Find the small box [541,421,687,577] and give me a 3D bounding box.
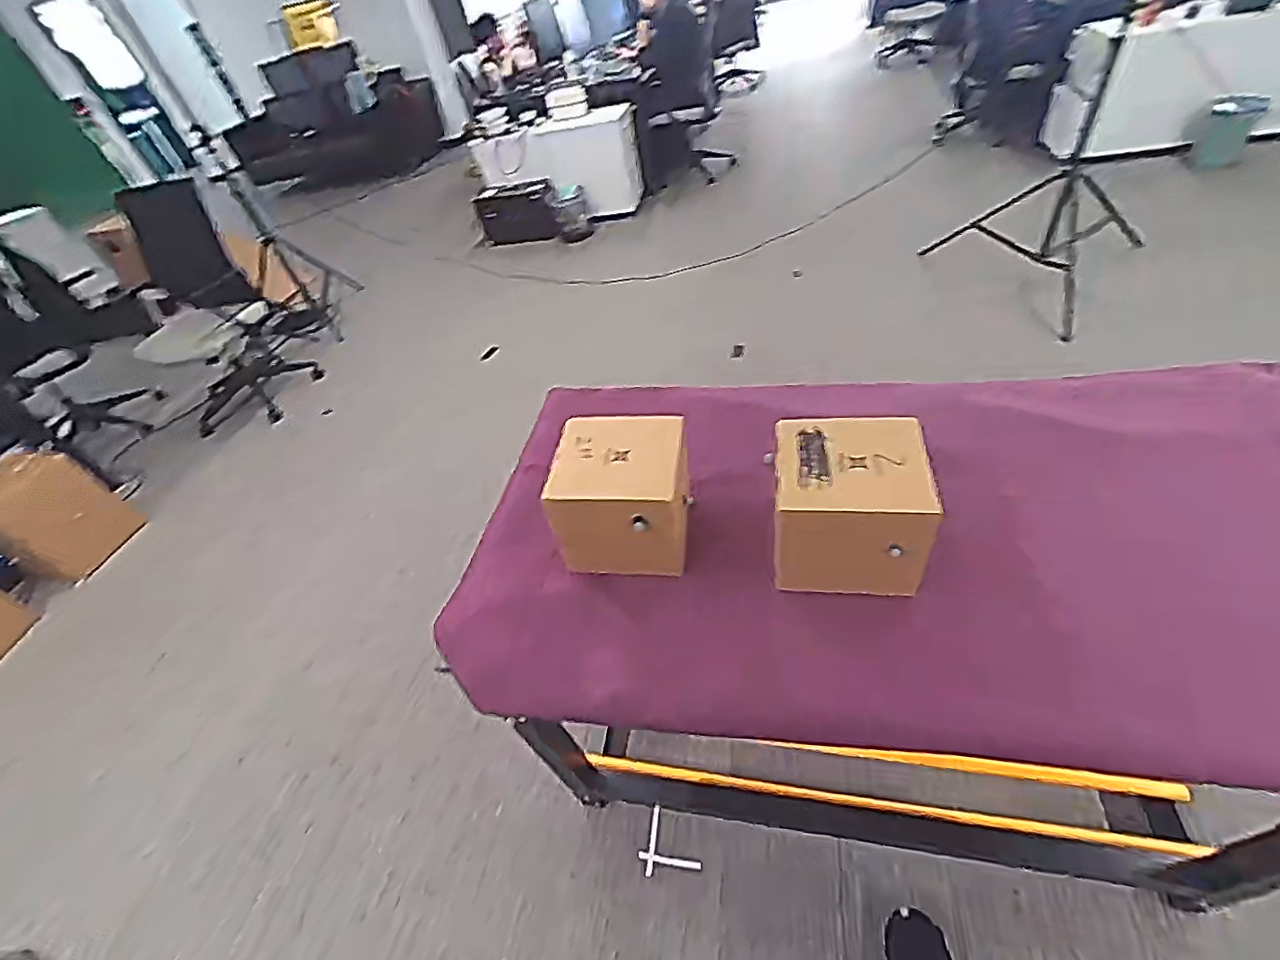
[{"bbox_3d":[-0.025,0.030,0.801,0.179,0.176,0.168,0,45,11],"label":"small box"}]
